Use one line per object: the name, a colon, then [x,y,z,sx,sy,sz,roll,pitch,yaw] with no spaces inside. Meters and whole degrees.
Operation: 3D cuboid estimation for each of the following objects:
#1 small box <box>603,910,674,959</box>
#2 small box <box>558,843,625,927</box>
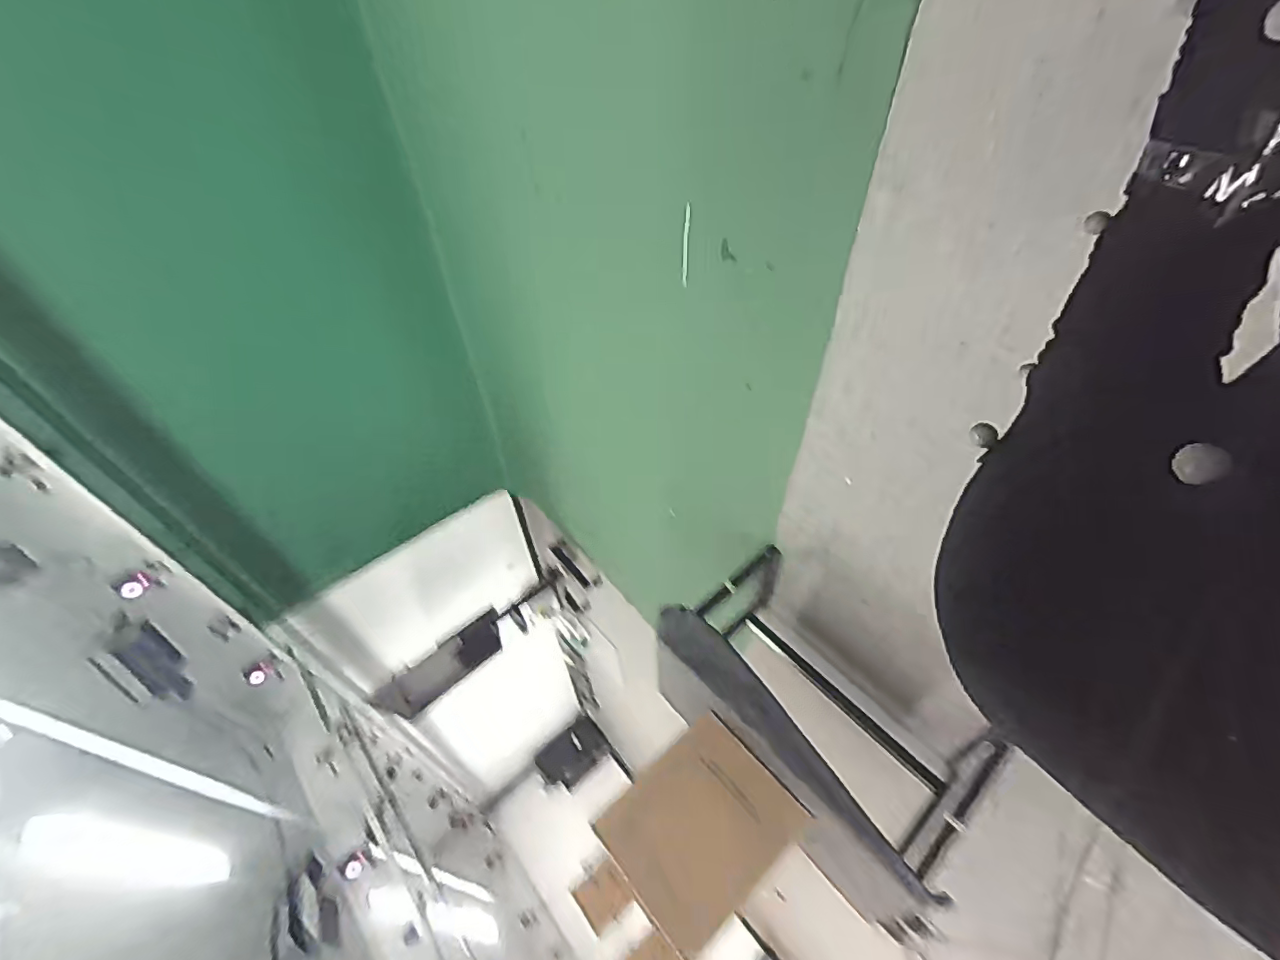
small box: [-0.004,1.556,1.770,0.168,0.176,0.179,39,147,32]
small box: [-0.166,1.419,1.899,0.168,0.176,0.179,41,150,33]
